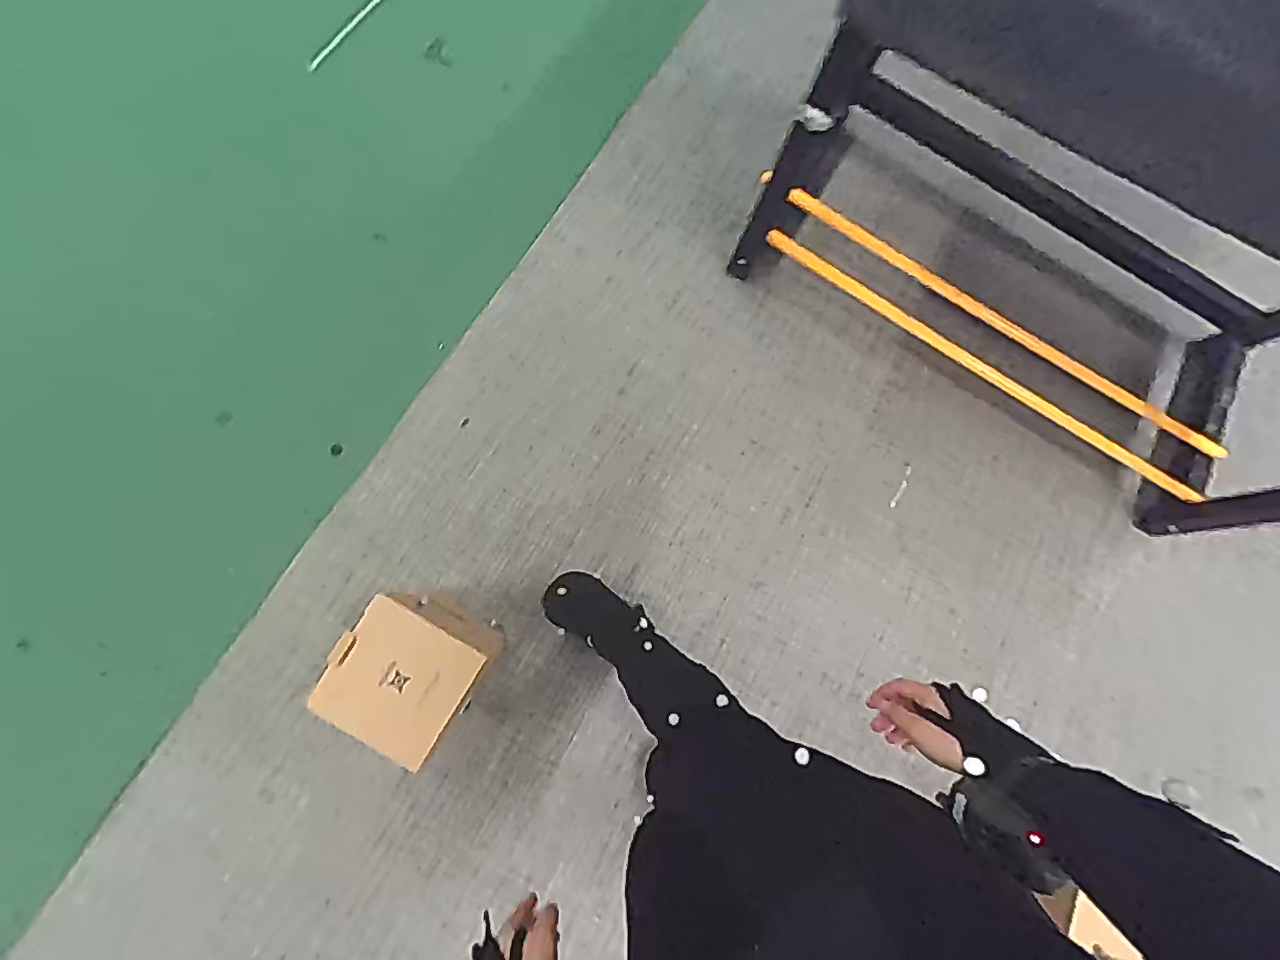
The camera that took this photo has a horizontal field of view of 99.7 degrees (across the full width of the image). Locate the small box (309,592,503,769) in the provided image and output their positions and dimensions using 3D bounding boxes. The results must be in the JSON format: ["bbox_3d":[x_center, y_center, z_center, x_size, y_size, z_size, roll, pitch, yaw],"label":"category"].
[{"bbox_3d":[-0.323,0.280,0.790,0.179,0.176,0.168,30,77,0],"label":"small box"}]

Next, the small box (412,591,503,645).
[{"bbox_3d":[-0.357,0.312,0.947,0.168,0.176,0.179,32,77,2],"label":"small box"}]
